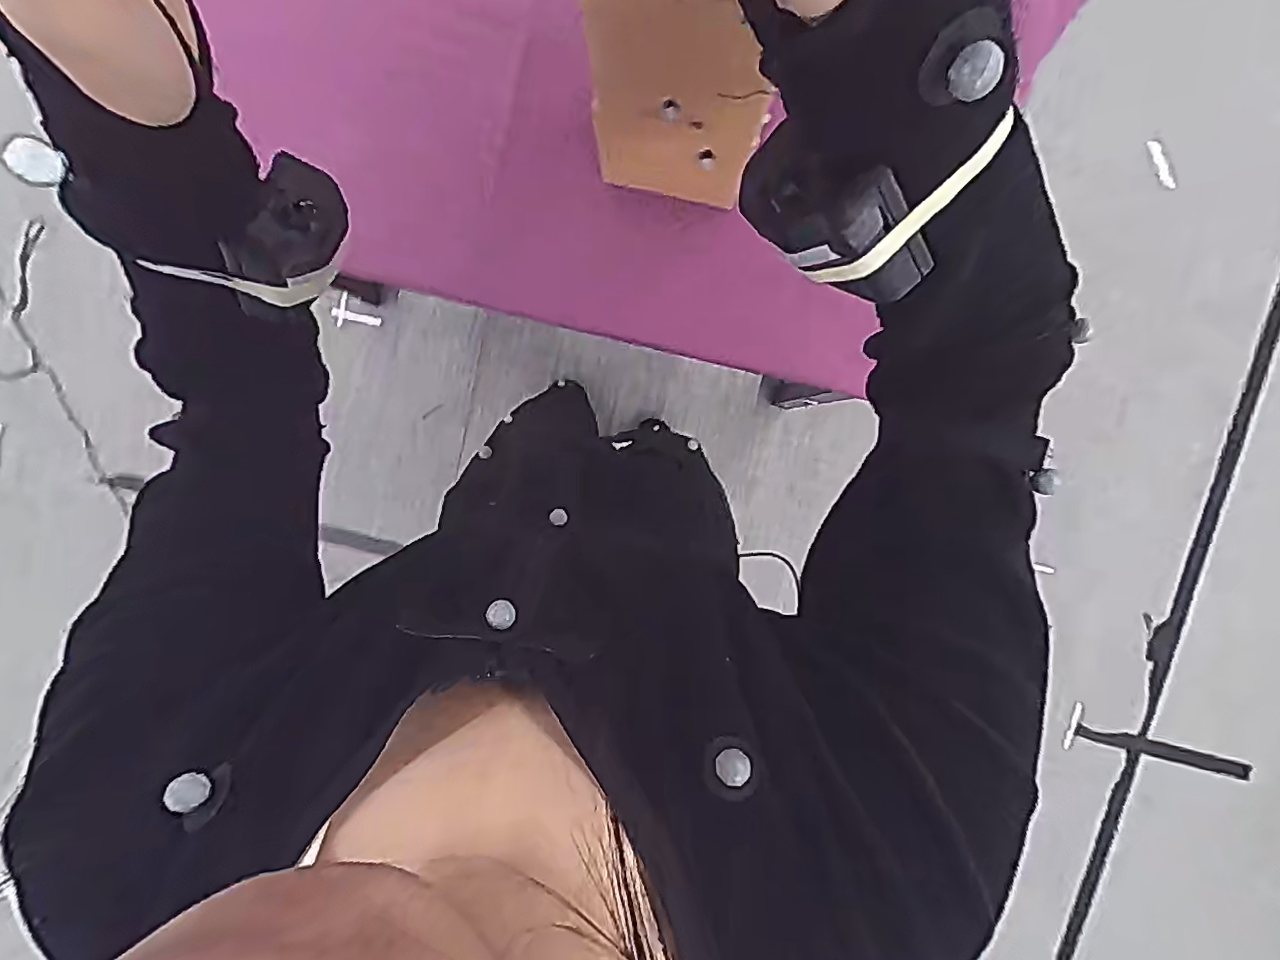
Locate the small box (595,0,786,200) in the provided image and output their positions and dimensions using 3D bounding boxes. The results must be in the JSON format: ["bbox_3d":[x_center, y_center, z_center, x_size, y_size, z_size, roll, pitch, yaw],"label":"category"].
[{"bbox_3d":[0.056,-0.453,0.627,0.179,0.176,0.168,13,95,0],"label":"small box"}]
